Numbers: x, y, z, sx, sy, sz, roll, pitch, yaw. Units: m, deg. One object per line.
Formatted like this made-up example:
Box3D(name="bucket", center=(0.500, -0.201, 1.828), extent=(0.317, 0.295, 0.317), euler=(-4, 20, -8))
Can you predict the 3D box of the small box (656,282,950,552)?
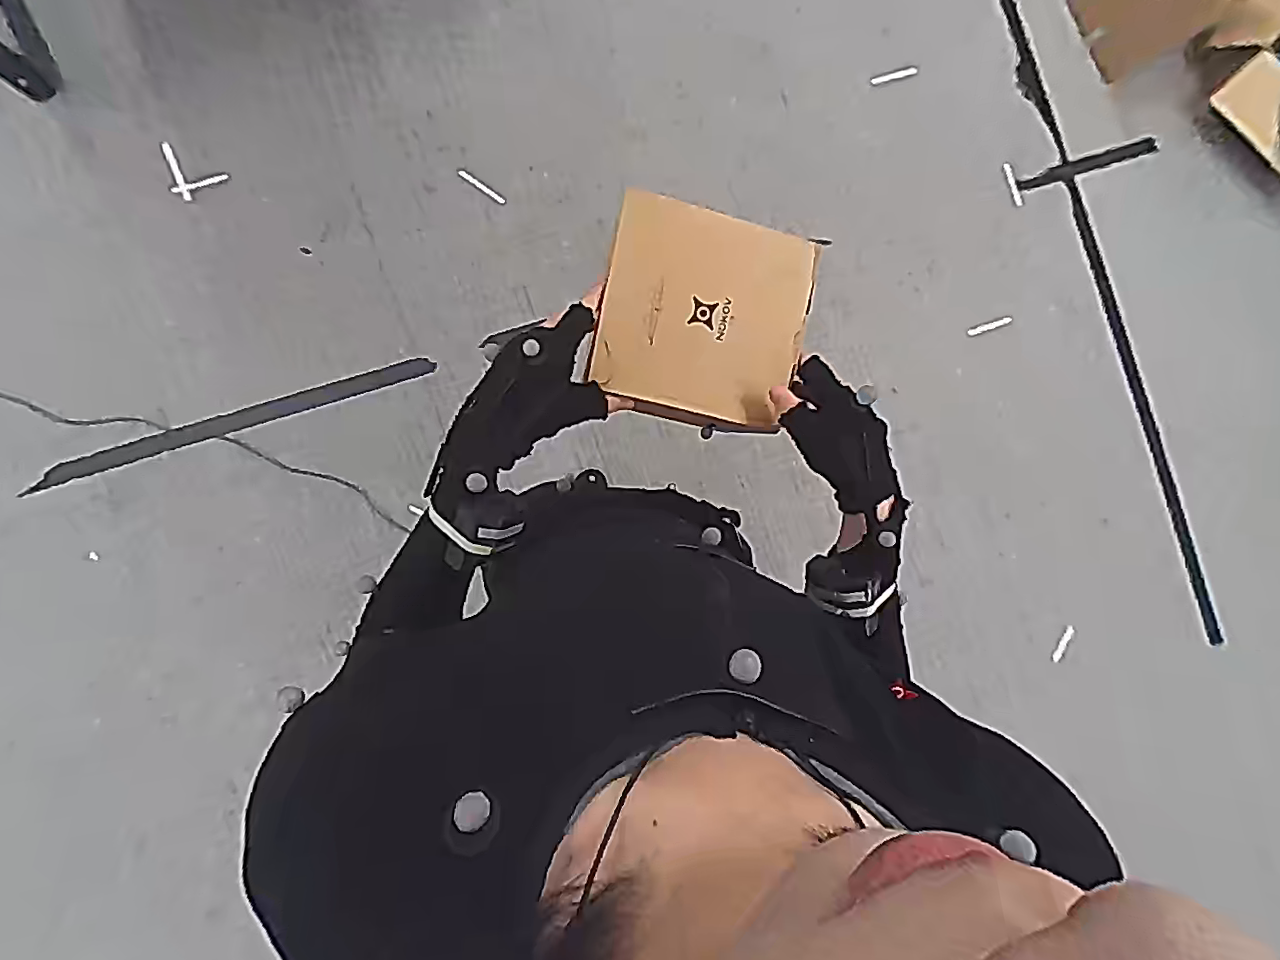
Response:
Box3D(name="small box", center=(0.155, -0.061, 0.507), extent=(0.176, 0.168, 0.179), euler=(-28, 88, -42))
